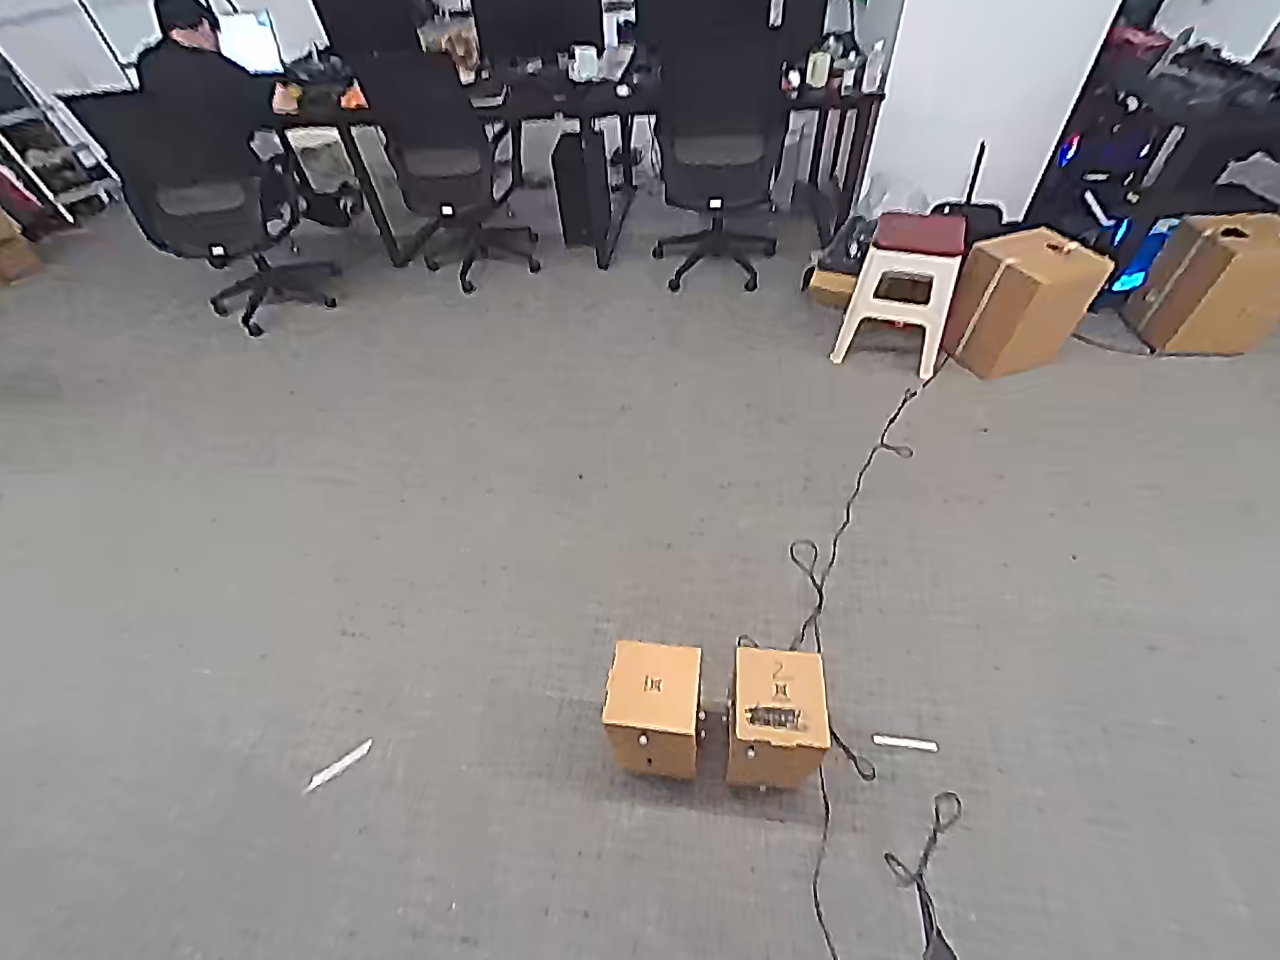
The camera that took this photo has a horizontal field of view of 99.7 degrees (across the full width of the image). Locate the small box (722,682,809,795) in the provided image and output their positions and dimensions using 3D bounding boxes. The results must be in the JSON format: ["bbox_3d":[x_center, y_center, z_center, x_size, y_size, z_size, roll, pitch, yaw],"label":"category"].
[{"bbox_3d":[0.267,0.570,1.189,0.168,0.176,0.179,2,49,7],"label":"small box"}]

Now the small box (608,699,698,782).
[{"bbox_3d":[0.037,0.562,1.216,0.179,0.176,0.168,3,48,9],"label":"small box"}]

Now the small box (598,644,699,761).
[{"bbox_3d":[0.026,0.454,1.097,0.179,0.176,0.168,3,48,10],"label":"small box"}]
